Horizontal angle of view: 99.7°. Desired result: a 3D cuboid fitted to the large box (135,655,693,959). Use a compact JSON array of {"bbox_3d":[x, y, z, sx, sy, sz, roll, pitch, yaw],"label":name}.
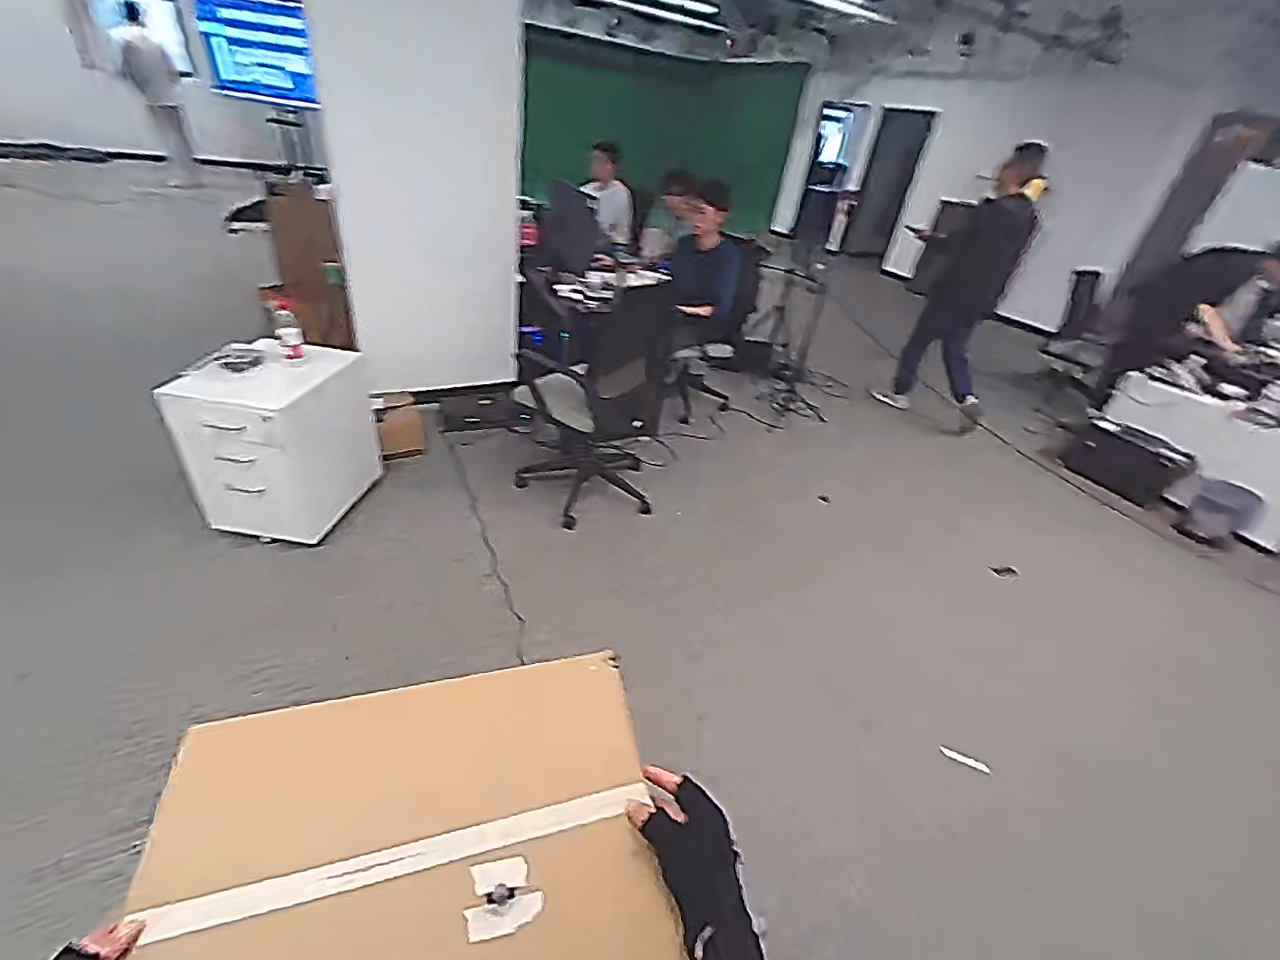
[{"bbox_3d":[-0.202,0.431,0.557,0.408,0.320,0.320,-4,42,-16],"label":"large box"}]
